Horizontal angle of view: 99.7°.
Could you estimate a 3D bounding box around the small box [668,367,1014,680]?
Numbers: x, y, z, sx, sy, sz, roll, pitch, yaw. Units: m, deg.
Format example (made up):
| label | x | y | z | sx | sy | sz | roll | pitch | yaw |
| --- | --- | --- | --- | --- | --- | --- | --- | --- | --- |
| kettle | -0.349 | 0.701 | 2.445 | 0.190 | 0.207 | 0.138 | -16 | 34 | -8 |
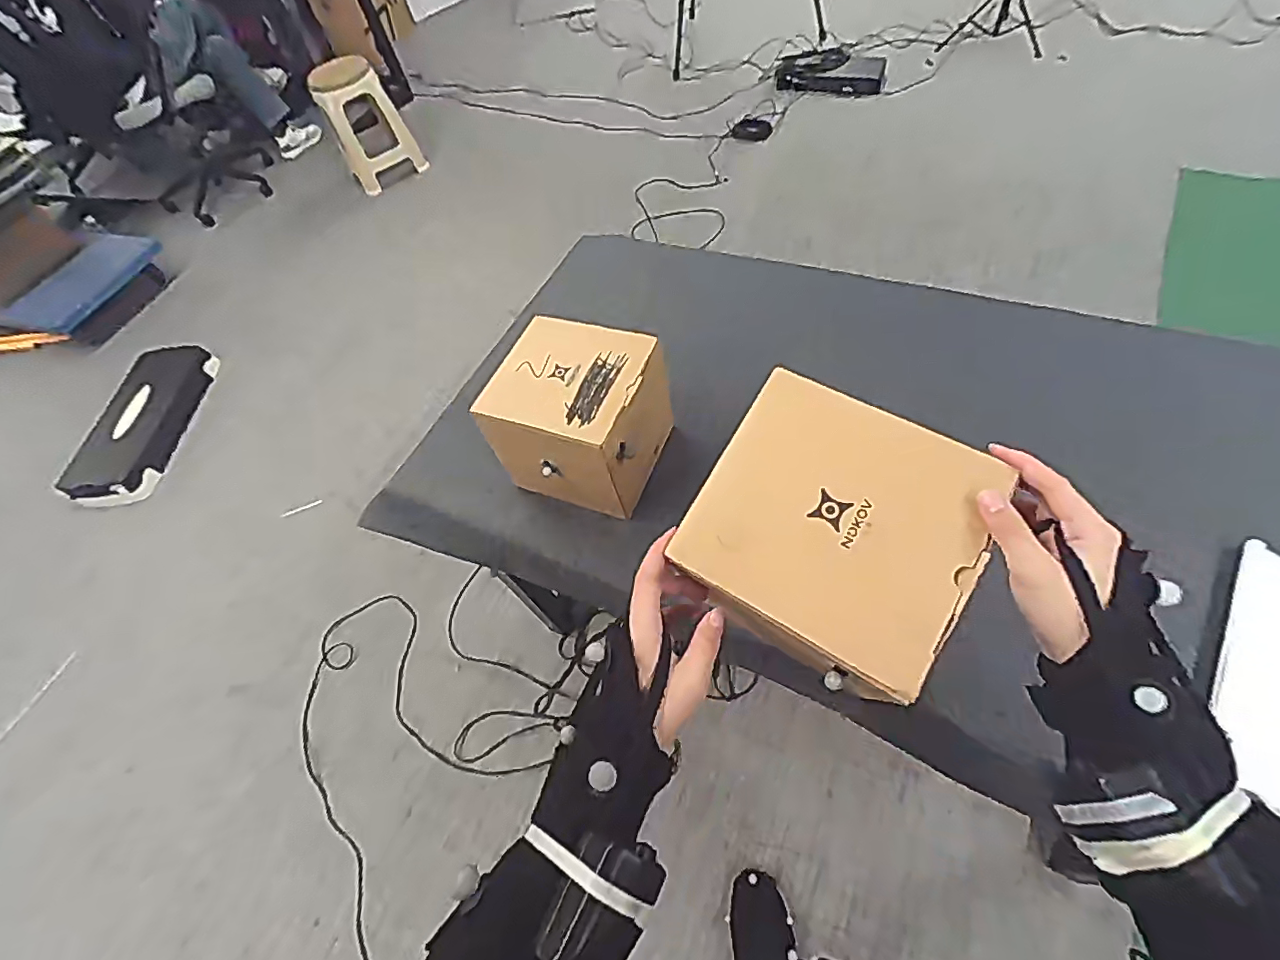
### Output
| label | x | y | z | sx | sy | sz | roll | pitch | yaw |
| --- | --- | --- | --- | --- | --- | --- | --- | --- | --- |
| small box | 0.145 | 0.045 | 0.437 | 0.179 | 0.176 | 0.168 | 28 | 77 | 19 |
